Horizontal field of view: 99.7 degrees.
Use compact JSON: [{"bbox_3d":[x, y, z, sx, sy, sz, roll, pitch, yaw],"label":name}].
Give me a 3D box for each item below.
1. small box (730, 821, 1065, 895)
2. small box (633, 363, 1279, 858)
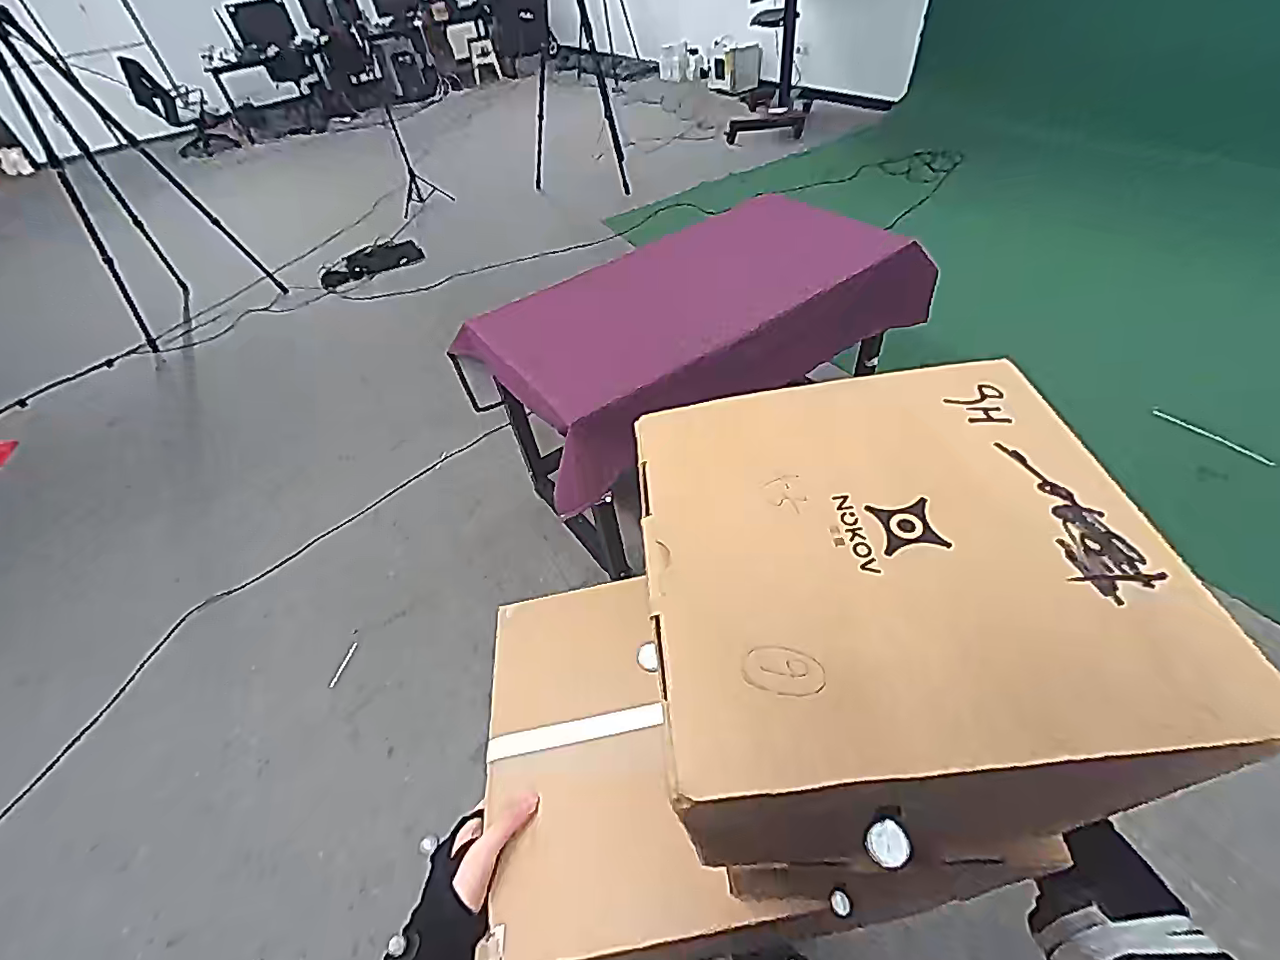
[{"bbox_3d":[0.137,0.178,0.384,0.168,0.176,0.179,-5,49,7],"label":"small box"},{"bbox_3d":[0.100,0.072,0.263,0.179,0.176,0.168,-9,50,5],"label":"small box"}]
